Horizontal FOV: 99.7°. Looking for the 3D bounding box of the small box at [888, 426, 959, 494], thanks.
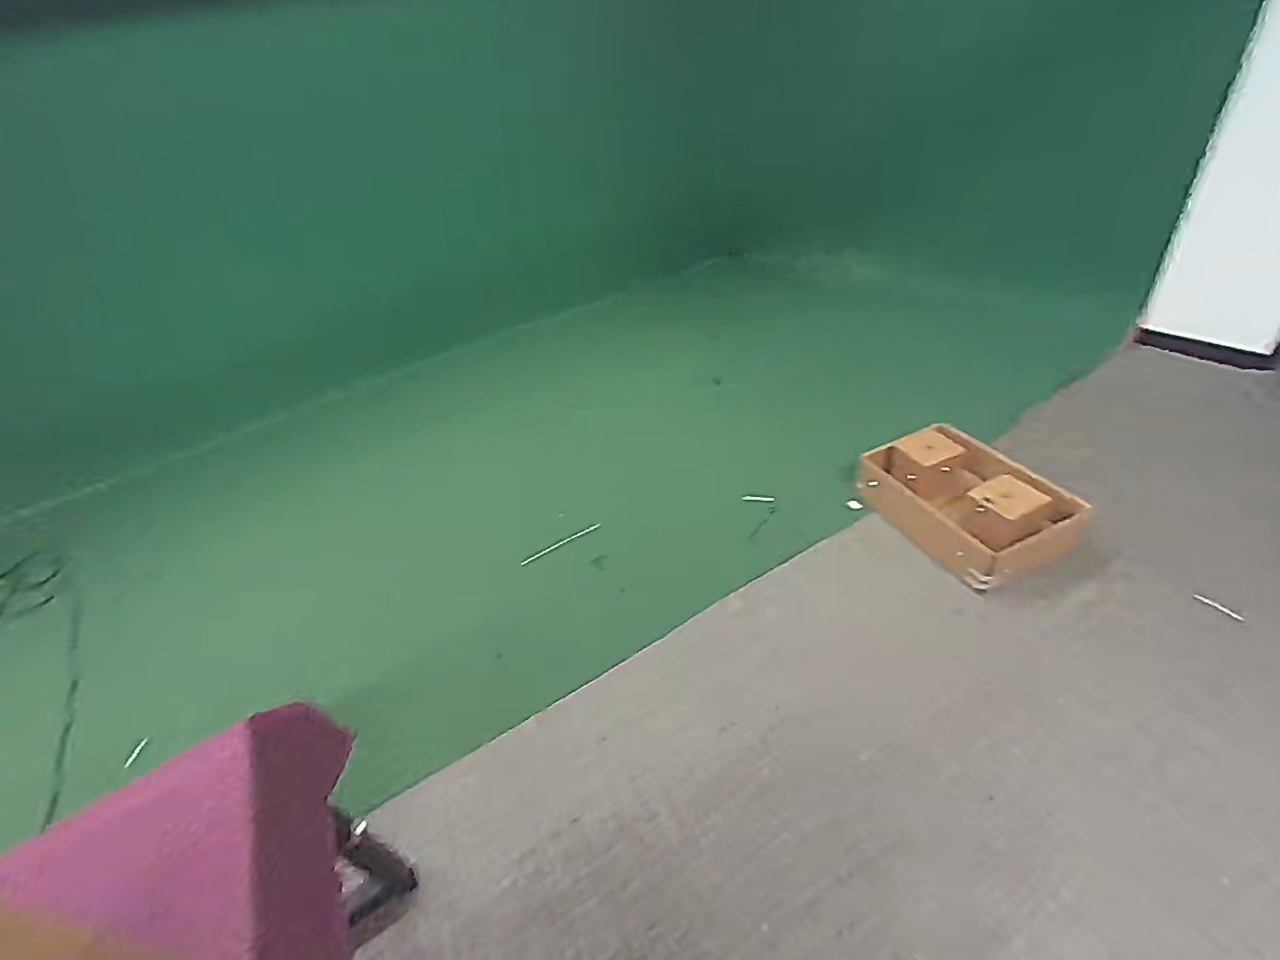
[{"bbox_3d":[1.069,-0.072,2.055,0.179,0.176,0.168,-20,40,-9],"label":"small box"}]
